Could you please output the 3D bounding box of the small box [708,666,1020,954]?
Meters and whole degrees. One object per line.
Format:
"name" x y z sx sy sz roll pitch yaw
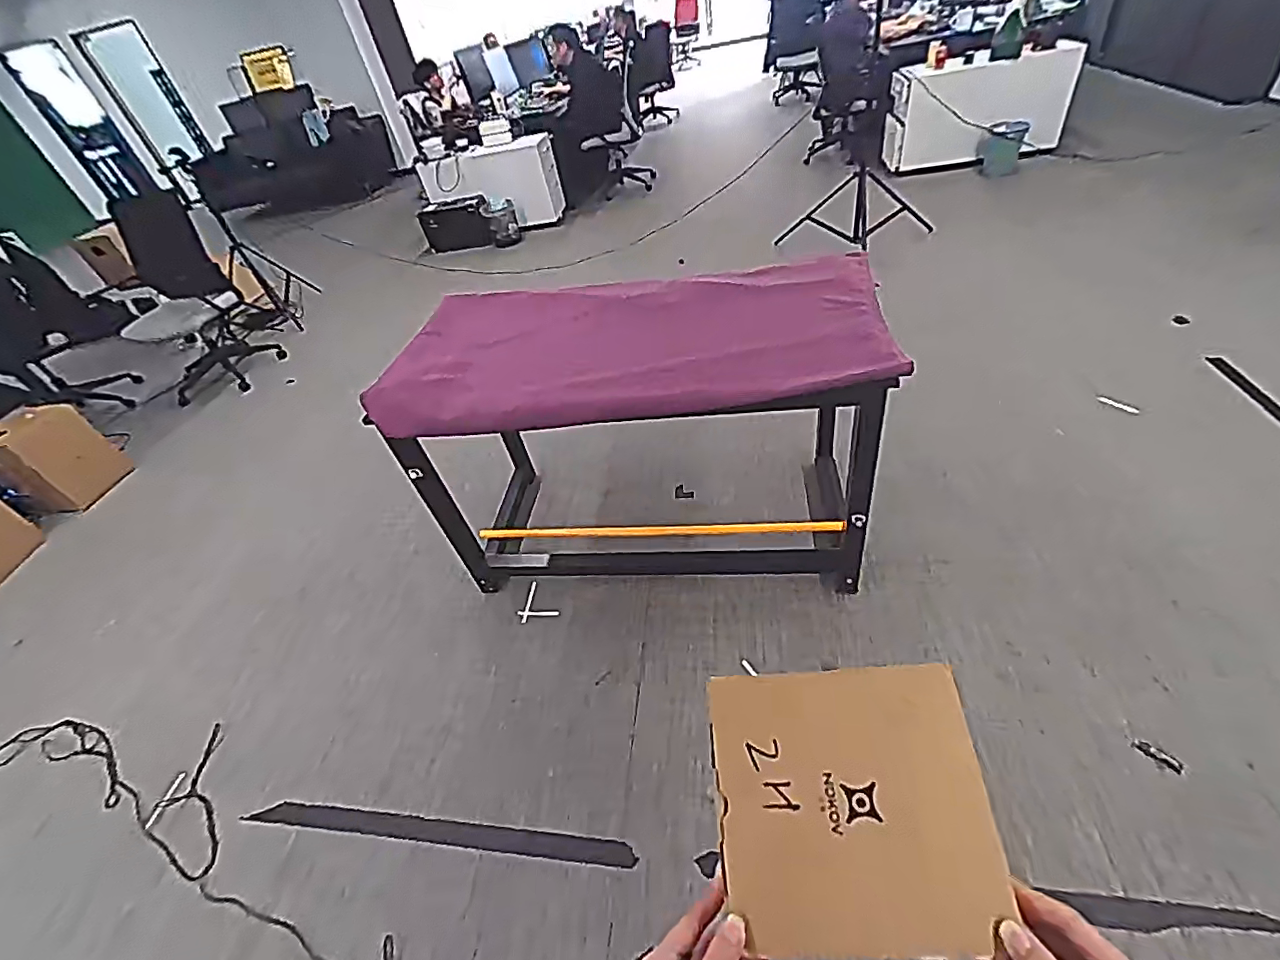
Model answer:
"small box" 0.152 0.248 0.435 0.179 0.176 0.168 -7 62 9
